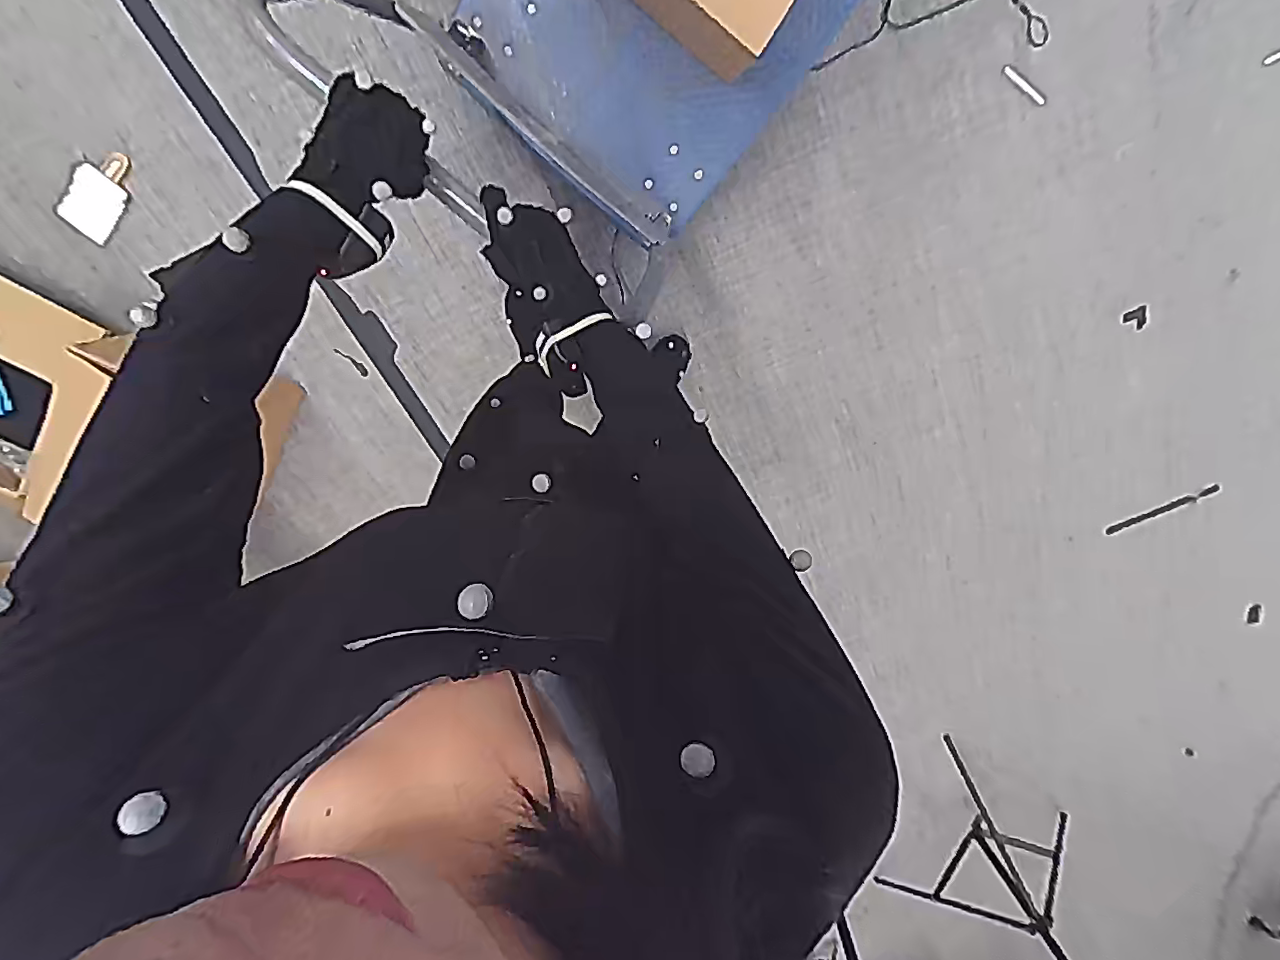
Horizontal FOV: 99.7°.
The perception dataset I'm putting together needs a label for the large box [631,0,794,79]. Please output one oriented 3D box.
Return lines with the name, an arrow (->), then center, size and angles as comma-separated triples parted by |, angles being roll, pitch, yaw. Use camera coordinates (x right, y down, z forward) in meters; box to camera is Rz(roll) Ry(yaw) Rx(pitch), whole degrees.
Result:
large box -> 0.092, -0.909, 0.816 | 0.408, 0.320, 0.320 | 29, 117, -16
